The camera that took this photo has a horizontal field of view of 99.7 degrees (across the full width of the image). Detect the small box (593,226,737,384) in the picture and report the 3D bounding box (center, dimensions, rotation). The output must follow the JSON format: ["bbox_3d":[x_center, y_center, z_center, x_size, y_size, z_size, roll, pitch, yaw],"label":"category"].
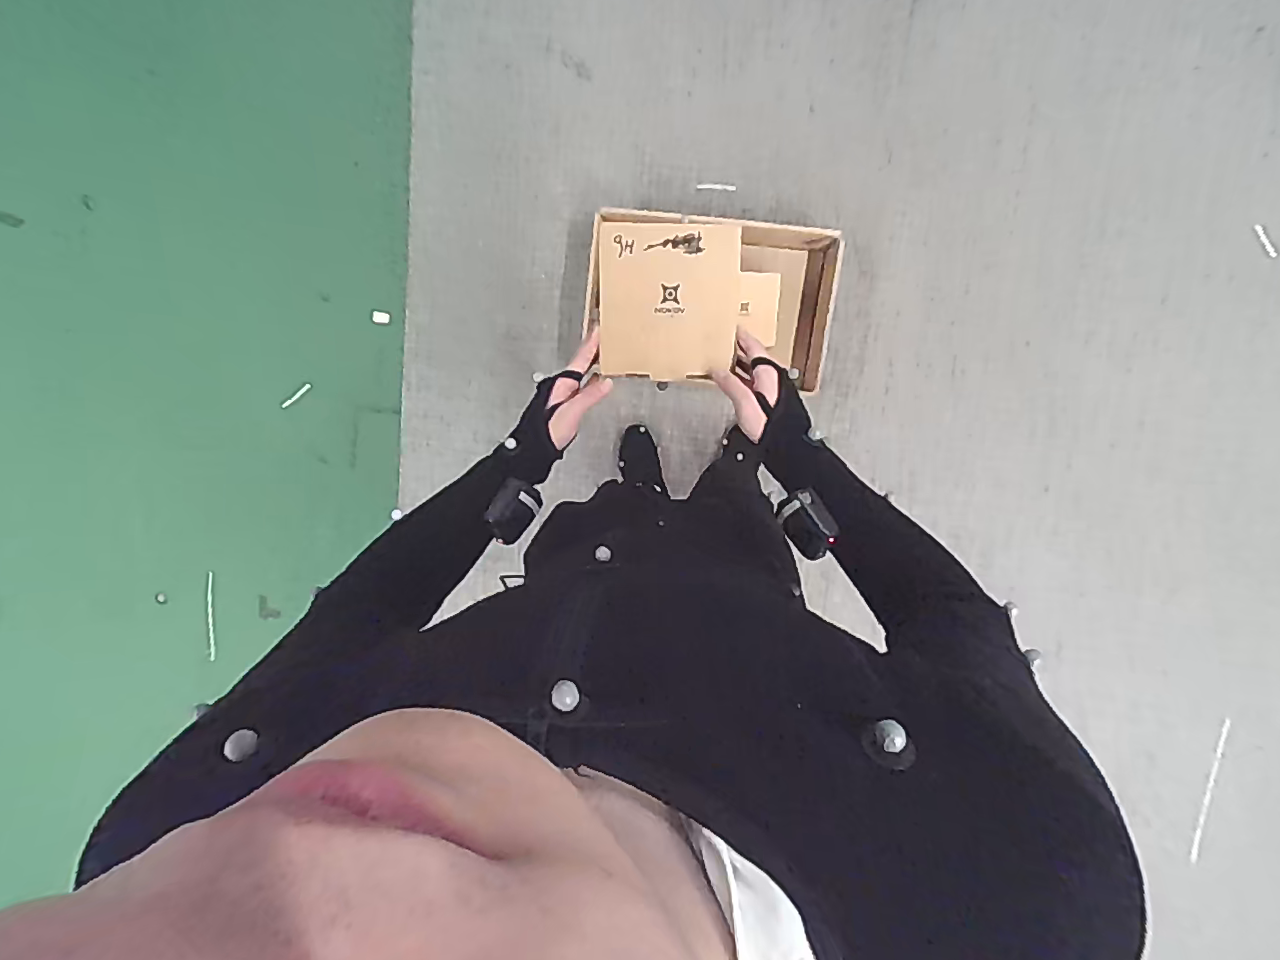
[{"bbox_3d":[0.027,-0.218,0.711,0.168,0.176,0.179,1,101,-2],"label":"small box"}]
